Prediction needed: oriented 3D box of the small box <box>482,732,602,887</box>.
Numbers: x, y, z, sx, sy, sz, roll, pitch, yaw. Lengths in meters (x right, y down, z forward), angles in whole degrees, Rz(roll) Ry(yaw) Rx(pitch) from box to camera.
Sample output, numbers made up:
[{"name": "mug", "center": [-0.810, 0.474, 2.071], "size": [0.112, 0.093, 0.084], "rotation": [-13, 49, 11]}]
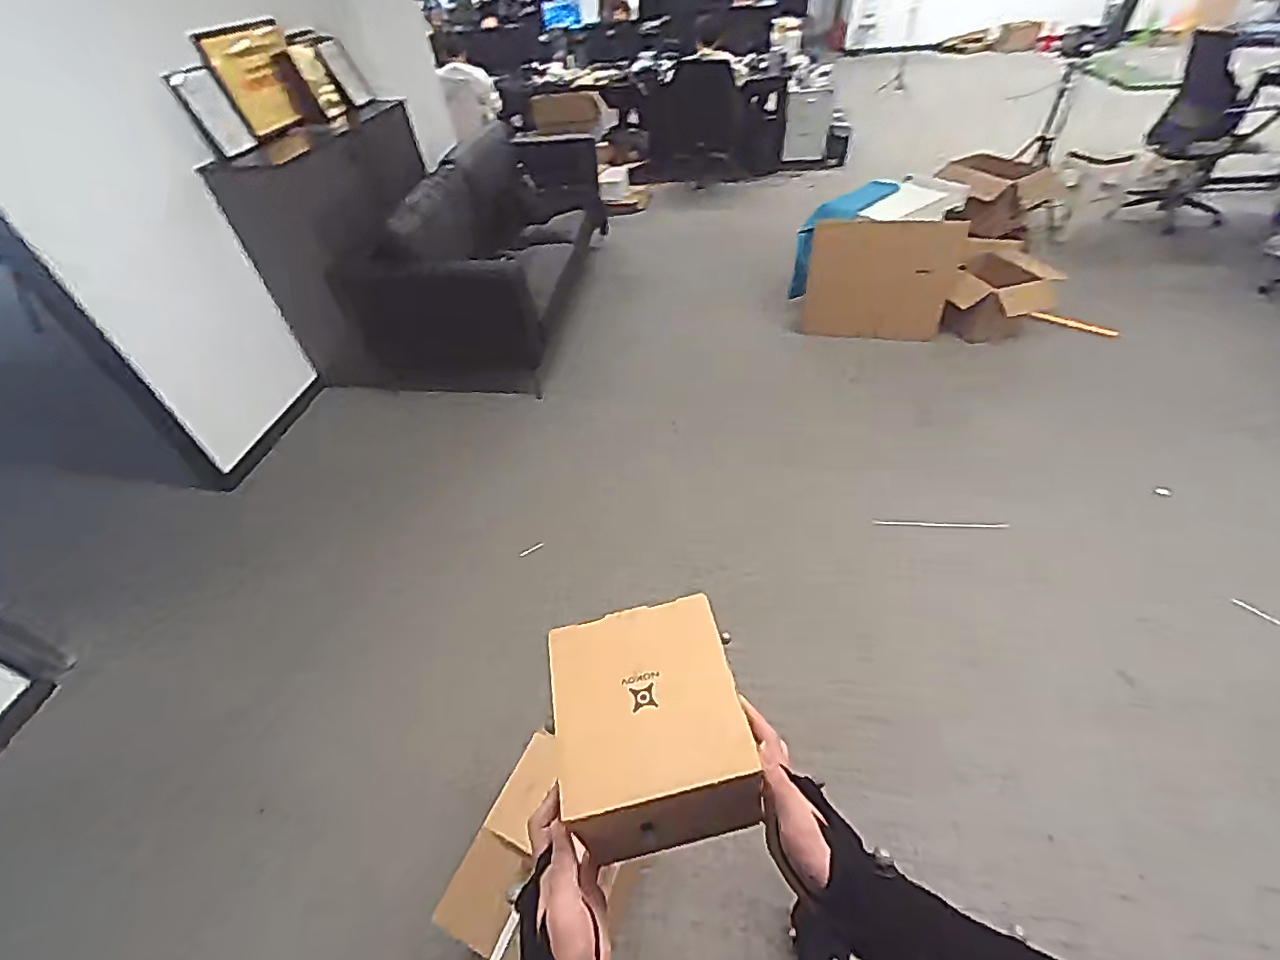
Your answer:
[{"name": "small box", "center": [-0.144, 0.589, 0.962], "size": [0.179, 0.176, 0.168], "rotation": [16, 48, 19]}]

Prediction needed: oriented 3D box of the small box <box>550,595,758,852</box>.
[{"name": "small box", "center": [0.014, 0.248, 0.543], "size": [0.168, 0.176, 0.179], "rotation": [-13, 45, -2]}]

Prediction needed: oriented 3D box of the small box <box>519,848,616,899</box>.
[{"name": "small box", "center": [-0.139, 0.700, 1.082], "size": [0.179, 0.176, 0.168], "rotation": [18, 50, 20]}]
